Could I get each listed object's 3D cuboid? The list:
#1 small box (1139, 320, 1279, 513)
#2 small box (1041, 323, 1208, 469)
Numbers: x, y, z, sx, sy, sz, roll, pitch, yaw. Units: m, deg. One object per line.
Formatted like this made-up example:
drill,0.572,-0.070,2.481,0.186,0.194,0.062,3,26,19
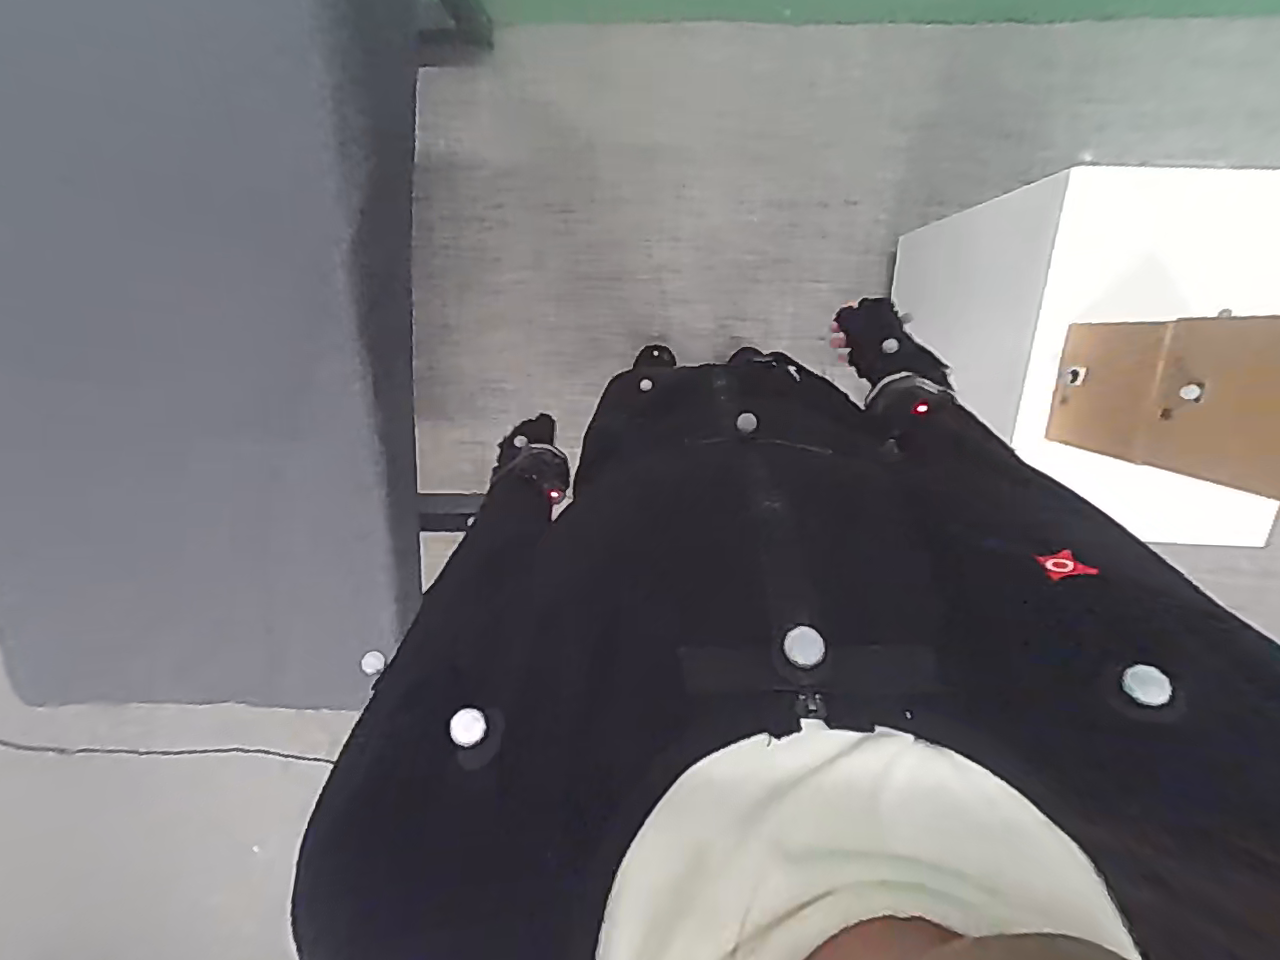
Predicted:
small box,0.653,-0.068,0.519,0.179,0.176,0.168,-2,105,2
small box,0.659,-0.110,0.678,0.179,0.176,0.168,1,105,5
